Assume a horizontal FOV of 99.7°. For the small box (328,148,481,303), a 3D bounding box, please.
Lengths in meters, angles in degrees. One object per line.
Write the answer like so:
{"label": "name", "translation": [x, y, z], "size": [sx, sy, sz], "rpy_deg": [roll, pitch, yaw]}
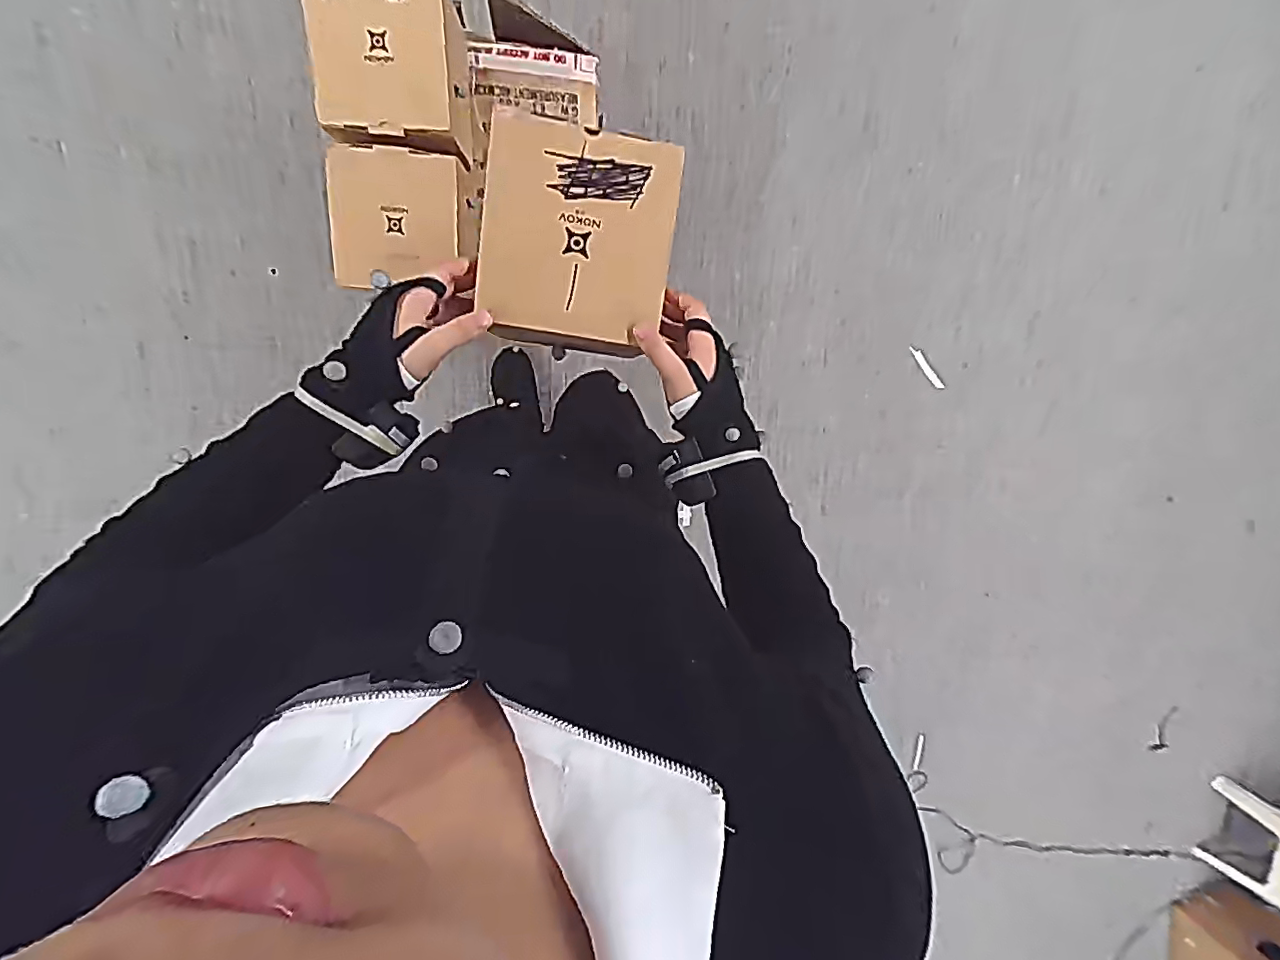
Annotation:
{"label": "small box", "translation": [-0.333, -0.361, 0.798], "size": [0.168, 0.176, 0.179], "rpy_deg": [1, 107, -7]}

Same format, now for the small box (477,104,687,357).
{"label": "small box", "translation": [-0.062, -0.227, 0.545], "size": [0.168, 0.176, 0.179], "rpy_deg": [7, 99, -10]}
